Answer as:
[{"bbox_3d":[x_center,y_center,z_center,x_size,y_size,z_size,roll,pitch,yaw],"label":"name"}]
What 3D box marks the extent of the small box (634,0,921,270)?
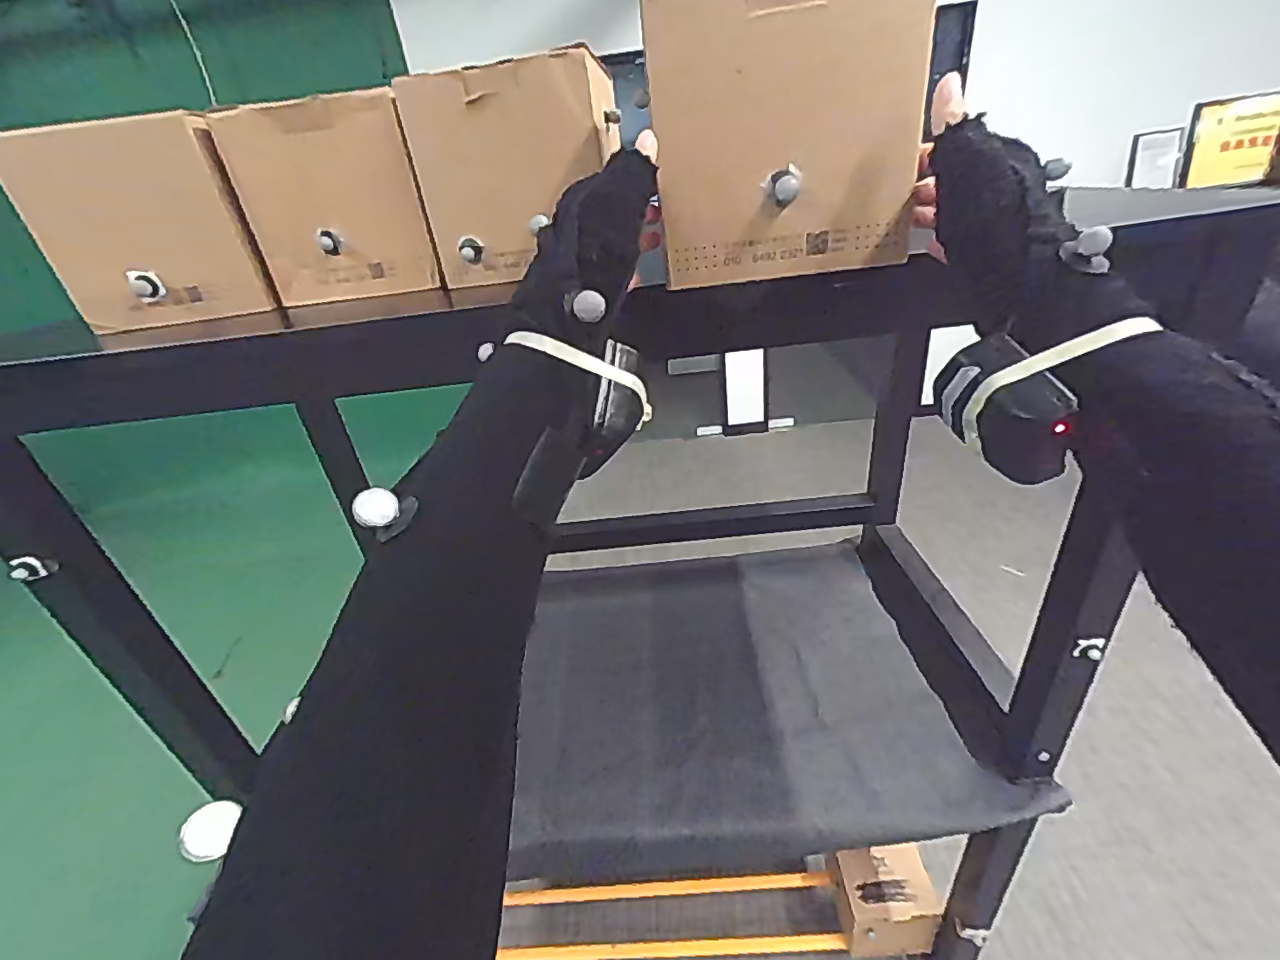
[{"bbox_3d":[0.091,-0.264,0.413,0.168,0.176,0.179,-5,29,7],"label":"small box"}]
